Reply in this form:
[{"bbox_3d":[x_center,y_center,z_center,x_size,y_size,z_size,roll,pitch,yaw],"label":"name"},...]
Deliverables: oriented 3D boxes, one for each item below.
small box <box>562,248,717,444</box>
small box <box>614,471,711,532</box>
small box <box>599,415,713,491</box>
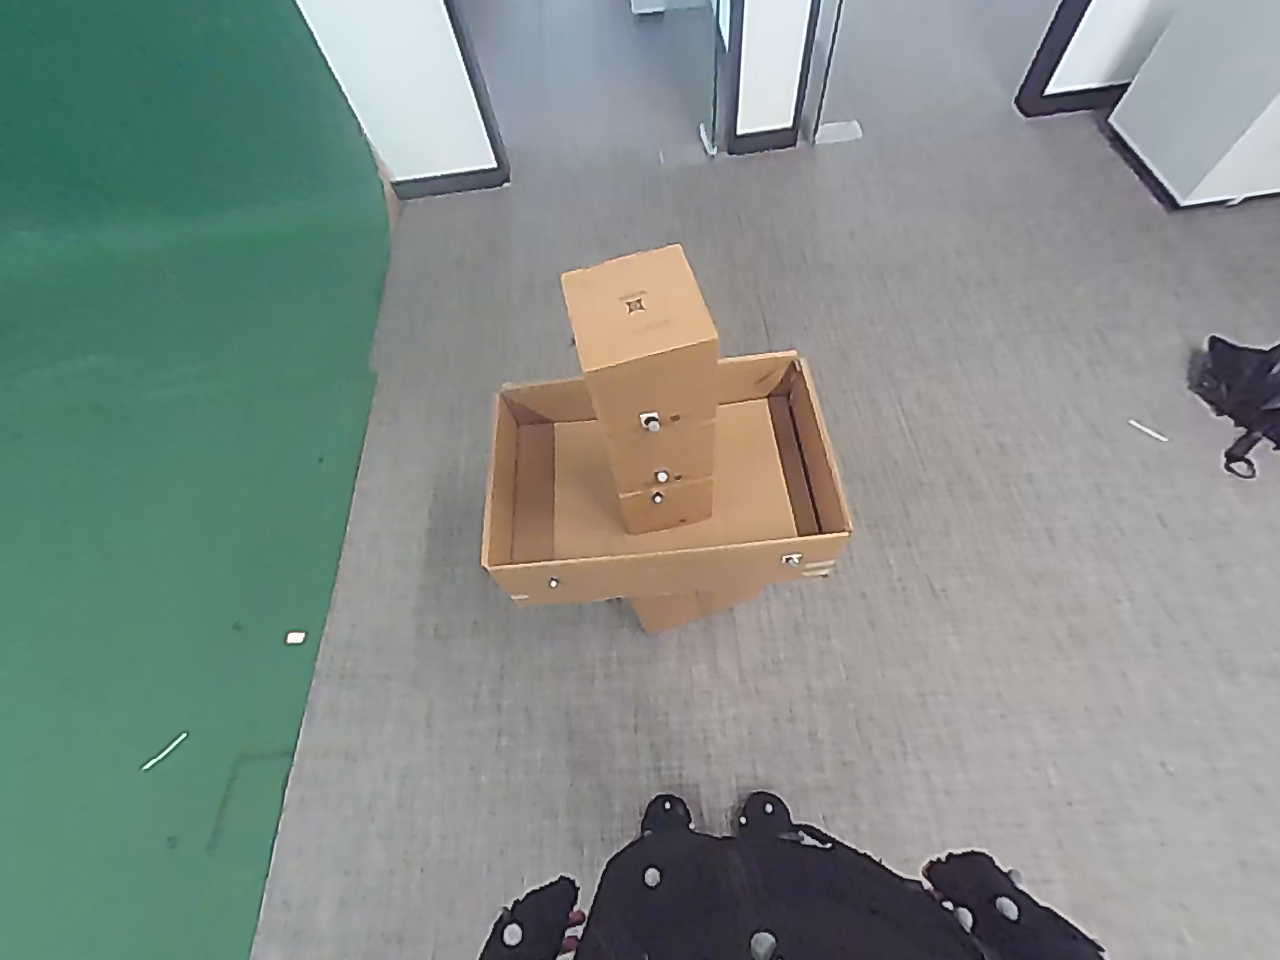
[{"bbox_3d":[0.001,-0.179,0.745,0.168,0.176,0.179,-16,62,0],"label":"small box"},{"bbox_3d":[0.036,-0.024,1.029,0.168,0.176,0.179,-12,60,1],"label":"small box"},{"bbox_3d":[0.020,-0.105,0.887,0.168,0.176,0.179,-11,61,1],"label":"small box"}]
